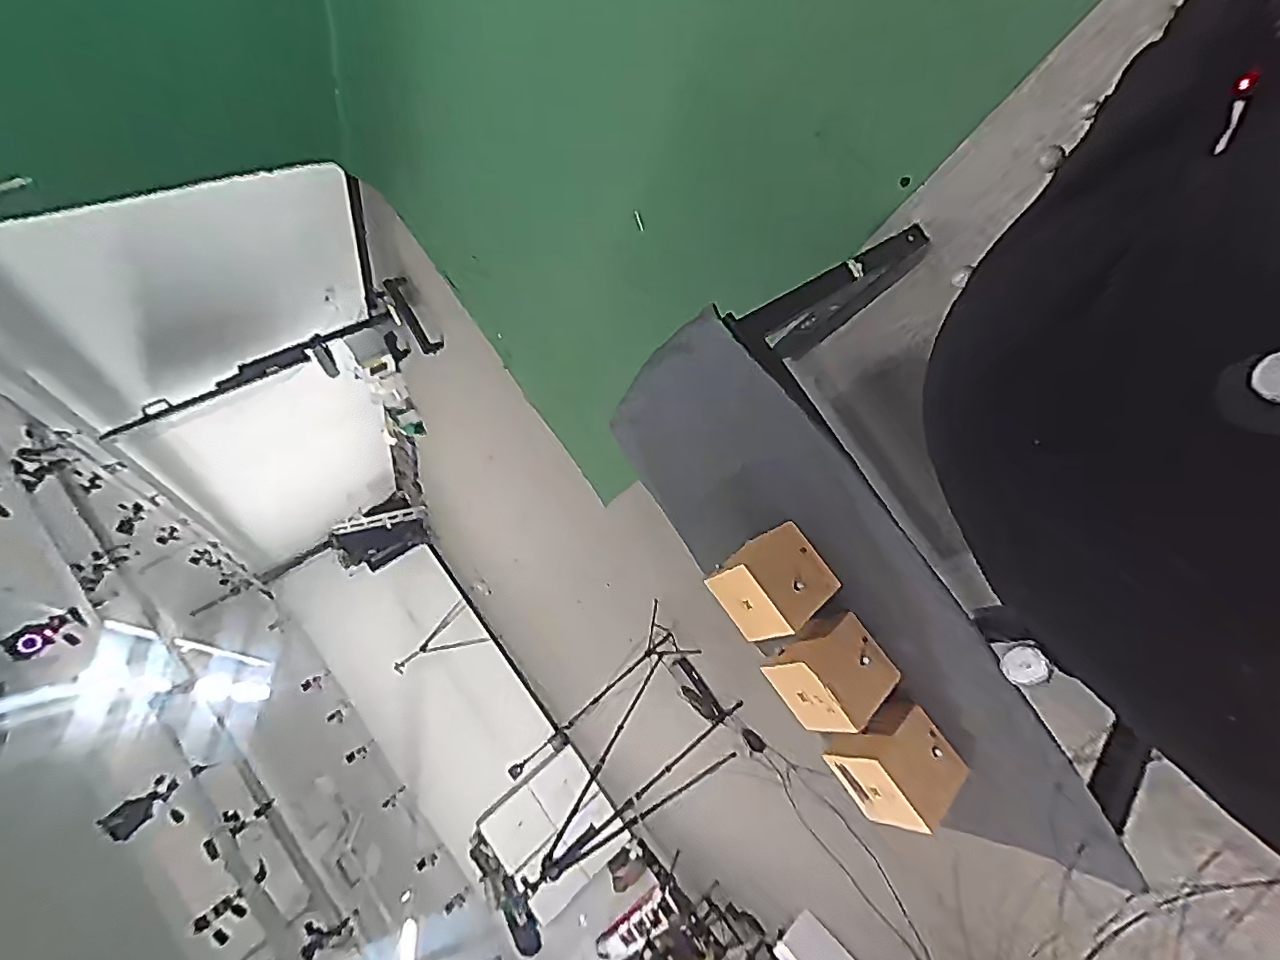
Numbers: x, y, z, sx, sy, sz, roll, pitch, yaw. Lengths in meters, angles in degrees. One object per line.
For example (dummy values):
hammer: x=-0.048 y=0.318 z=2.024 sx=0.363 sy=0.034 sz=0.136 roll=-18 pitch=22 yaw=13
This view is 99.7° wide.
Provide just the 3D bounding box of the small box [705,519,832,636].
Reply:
small box: x=0.278 y=0.207 z=1.151 sx=0.168 sy=0.176 sz=0.179 roll=53 pitch=151 yaw=5

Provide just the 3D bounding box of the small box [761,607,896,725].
small box: x=0.401 y=0.395 z=1.154 sx=0.168 sy=0.176 sz=0.179 roll=52 pitch=151 yaw=6
